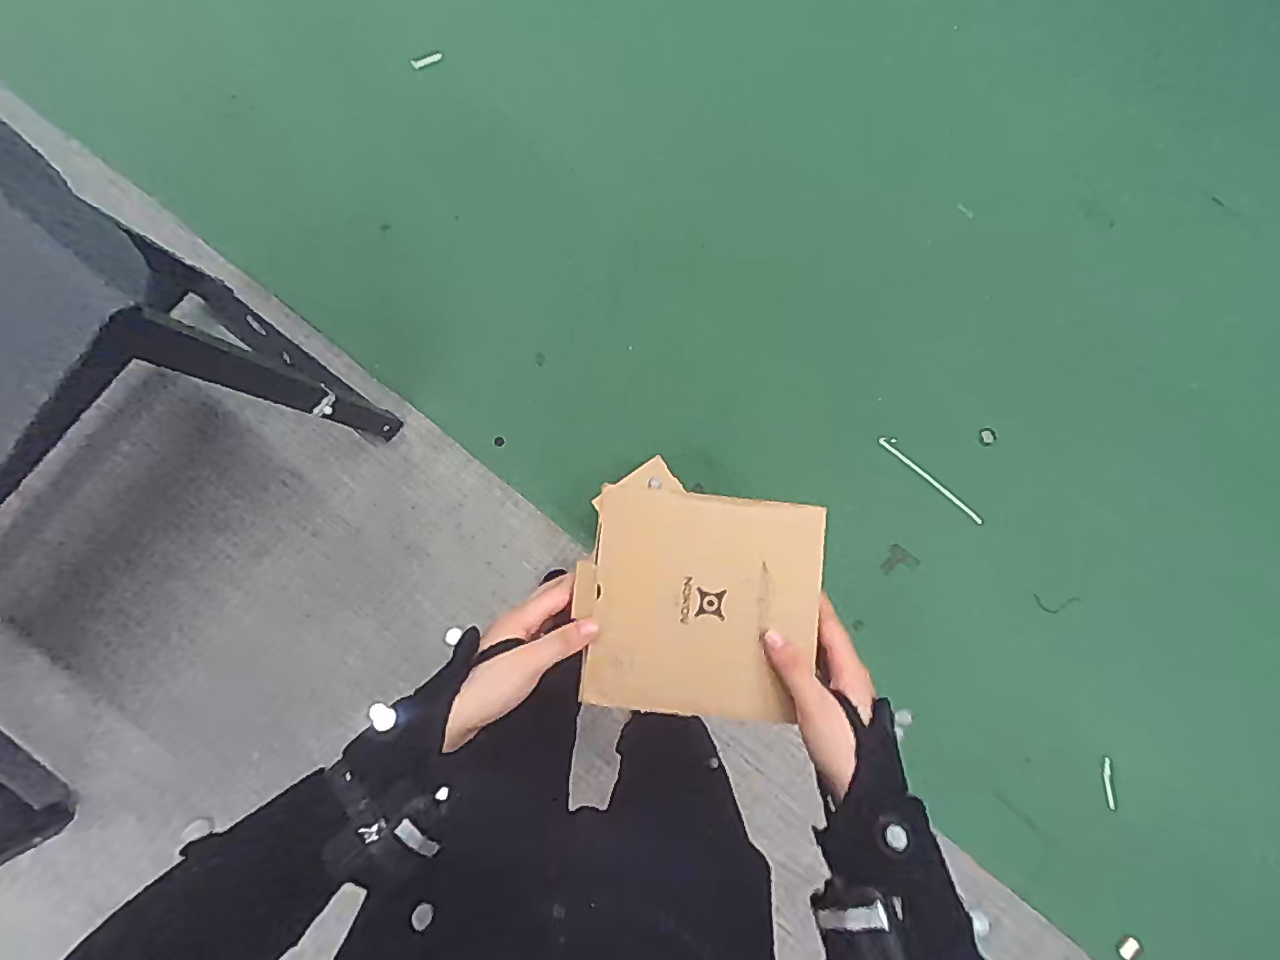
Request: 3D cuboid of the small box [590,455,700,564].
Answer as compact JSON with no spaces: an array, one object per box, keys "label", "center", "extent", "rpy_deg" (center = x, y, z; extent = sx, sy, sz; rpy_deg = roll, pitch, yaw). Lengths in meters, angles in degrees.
[{"label":"small box","center":[0.009,0.065,1.195],"extent":[0.179,0.176,0.168],"rpy_deg":[-35,89,-4]}]
